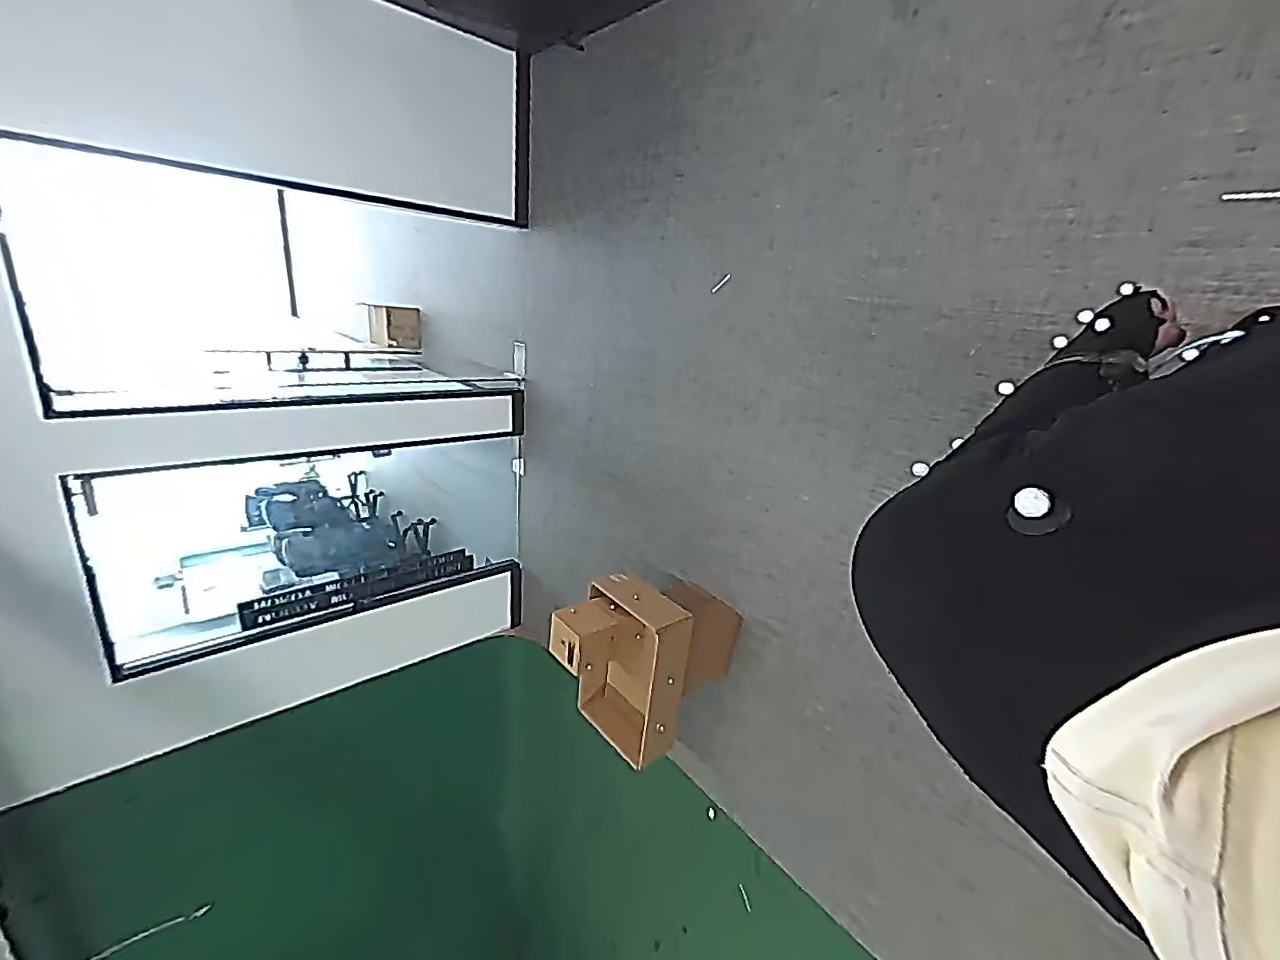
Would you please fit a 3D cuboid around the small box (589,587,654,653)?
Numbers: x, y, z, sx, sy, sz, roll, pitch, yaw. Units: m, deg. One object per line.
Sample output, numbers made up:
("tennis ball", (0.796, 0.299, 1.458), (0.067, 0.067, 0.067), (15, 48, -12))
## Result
("small box", (-0.072, 0.524, 2.064), (0.179, 0.176, 0.168), (26, 117, 43))
